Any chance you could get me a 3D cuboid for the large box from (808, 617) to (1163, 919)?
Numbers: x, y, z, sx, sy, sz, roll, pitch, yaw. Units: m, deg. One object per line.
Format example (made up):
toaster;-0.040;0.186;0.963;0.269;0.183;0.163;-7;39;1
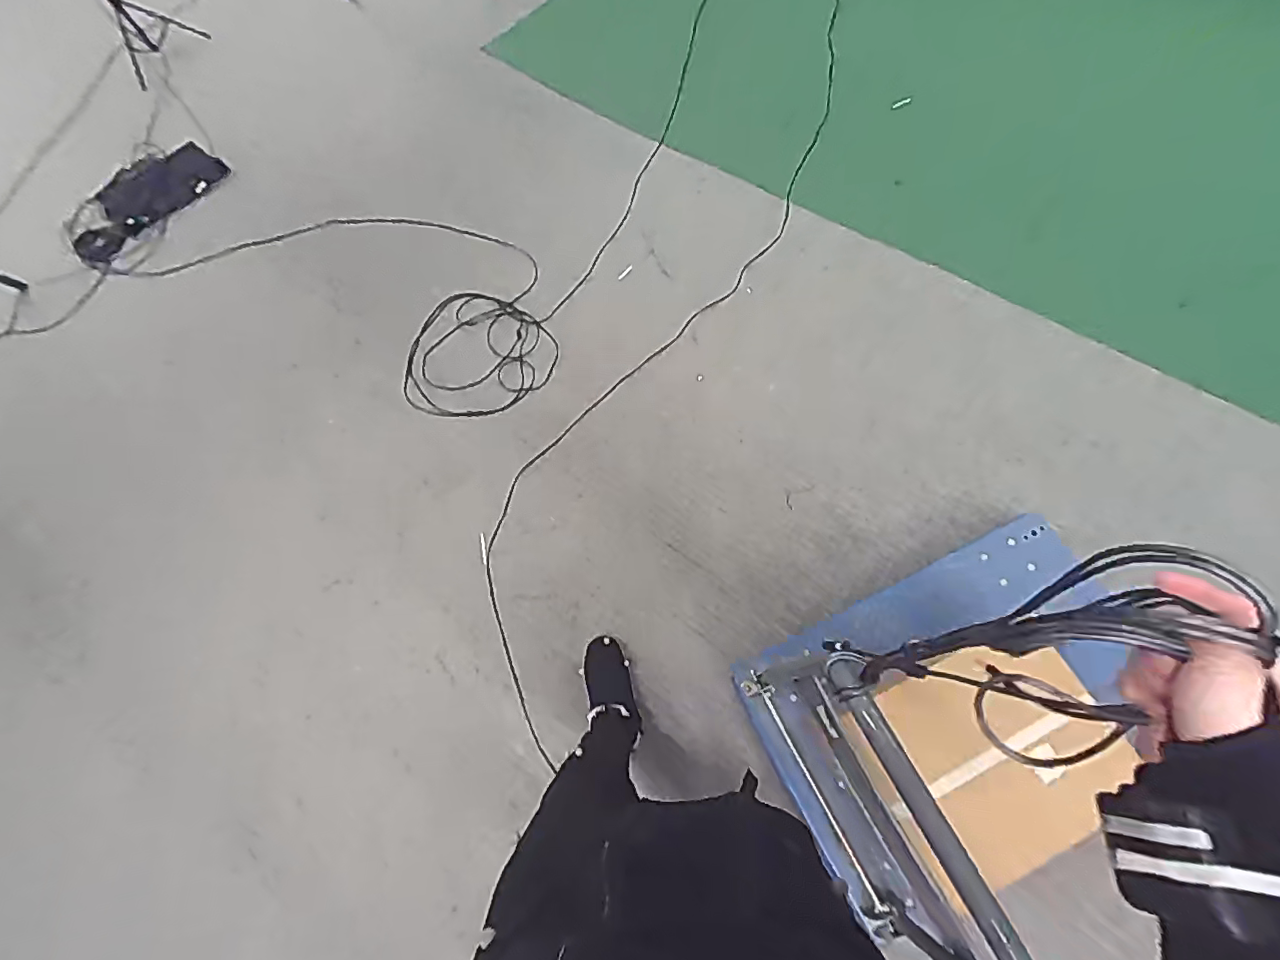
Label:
large box;0.598;0.513;1.025;0.408;0.320;0.320;-25;68;-7
